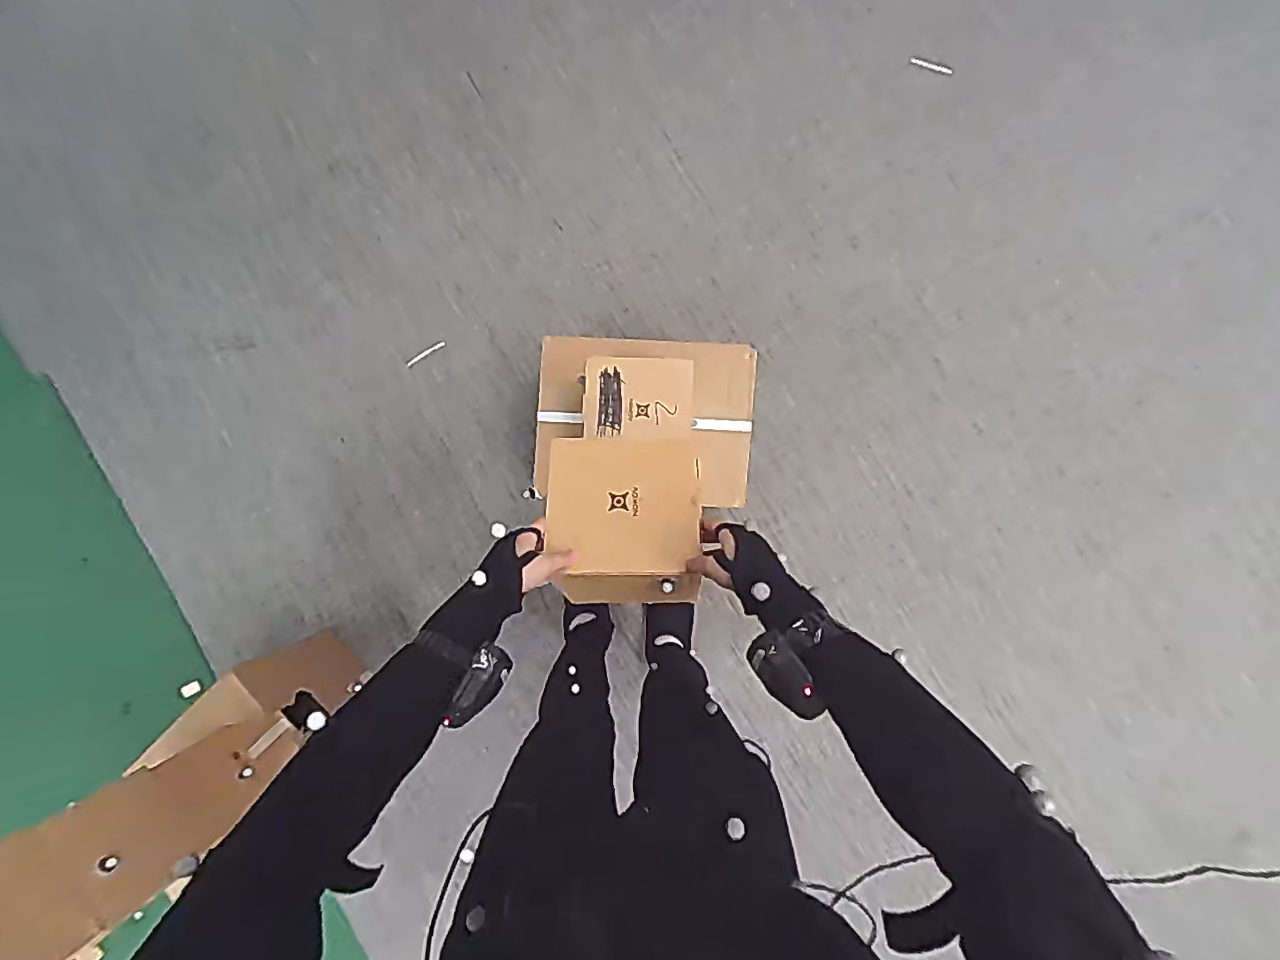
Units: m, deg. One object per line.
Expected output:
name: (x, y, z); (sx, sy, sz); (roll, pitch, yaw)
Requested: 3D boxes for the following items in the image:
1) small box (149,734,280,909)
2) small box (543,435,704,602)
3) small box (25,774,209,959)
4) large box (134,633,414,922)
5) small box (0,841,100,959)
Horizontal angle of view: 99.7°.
small box: (-0.801, 0.599, 0.962); (0.179, 0.176, 0.168); (-41, 88, 1)
small box: (-0.013, 0.056, 0.678); (0.179, 0.176, 0.168); (-1, 66, 2)
small box: (-0.805, 0.586, 0.799); (0.168, 0.176, 0.179); (-40, 88, 2)
large box: (-0.807, 0.623, 1.208); (0.408, 0.320, 0.320); (-45, 86, 3)
small box: (-0.818, 0.584, 0.635); (0.168, 0.176, 0.179); (-41, 89, 1)
